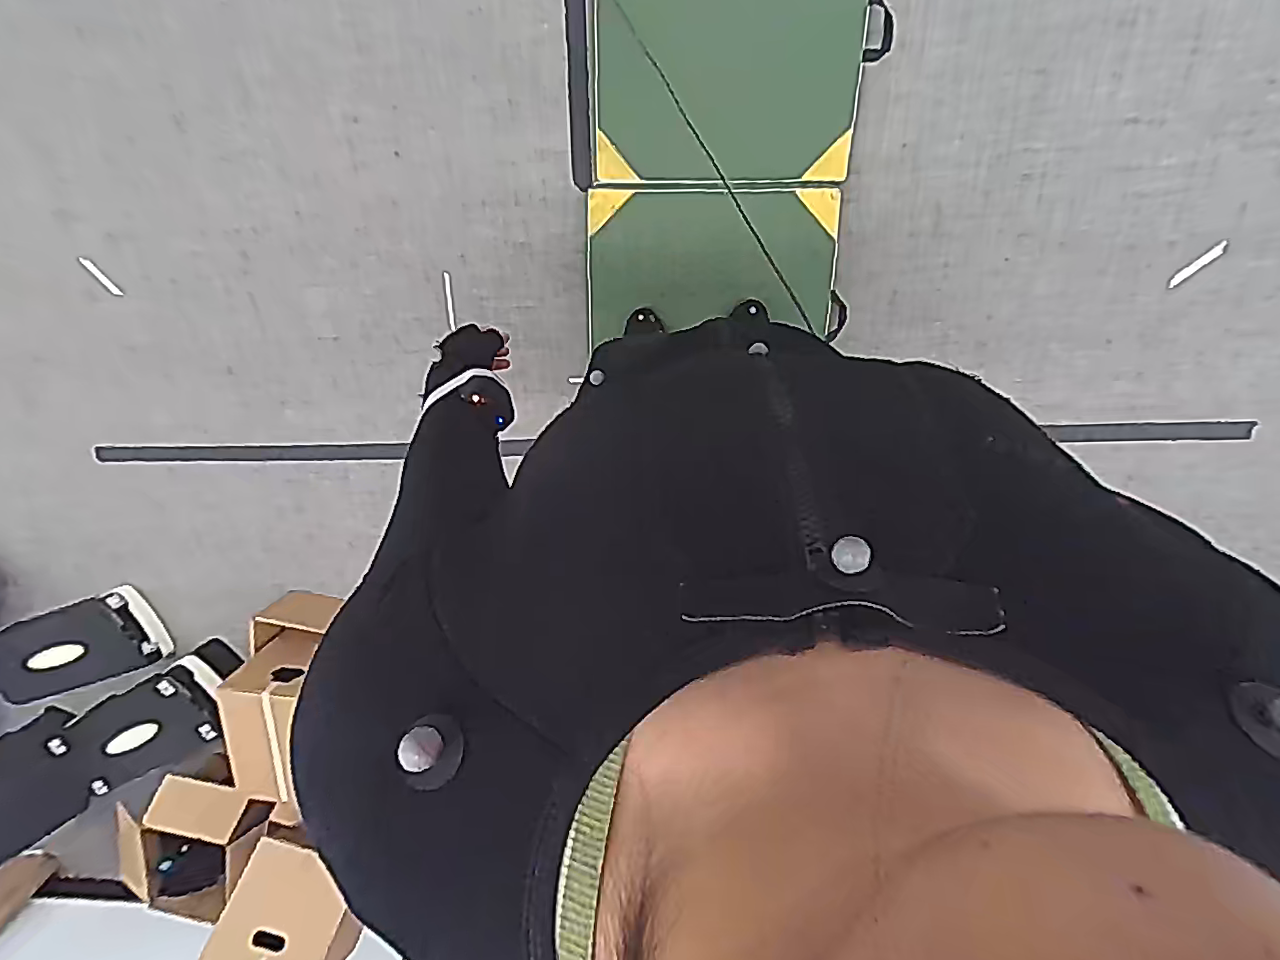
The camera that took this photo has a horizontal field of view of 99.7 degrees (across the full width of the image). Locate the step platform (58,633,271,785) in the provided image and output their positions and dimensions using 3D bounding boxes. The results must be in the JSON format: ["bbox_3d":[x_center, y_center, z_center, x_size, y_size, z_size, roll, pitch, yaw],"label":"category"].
[{"bbox_3d":[-1.687,0.817,1.918,0.684,0.204,0.286,-28,104,12],"label":"step platform"}]
